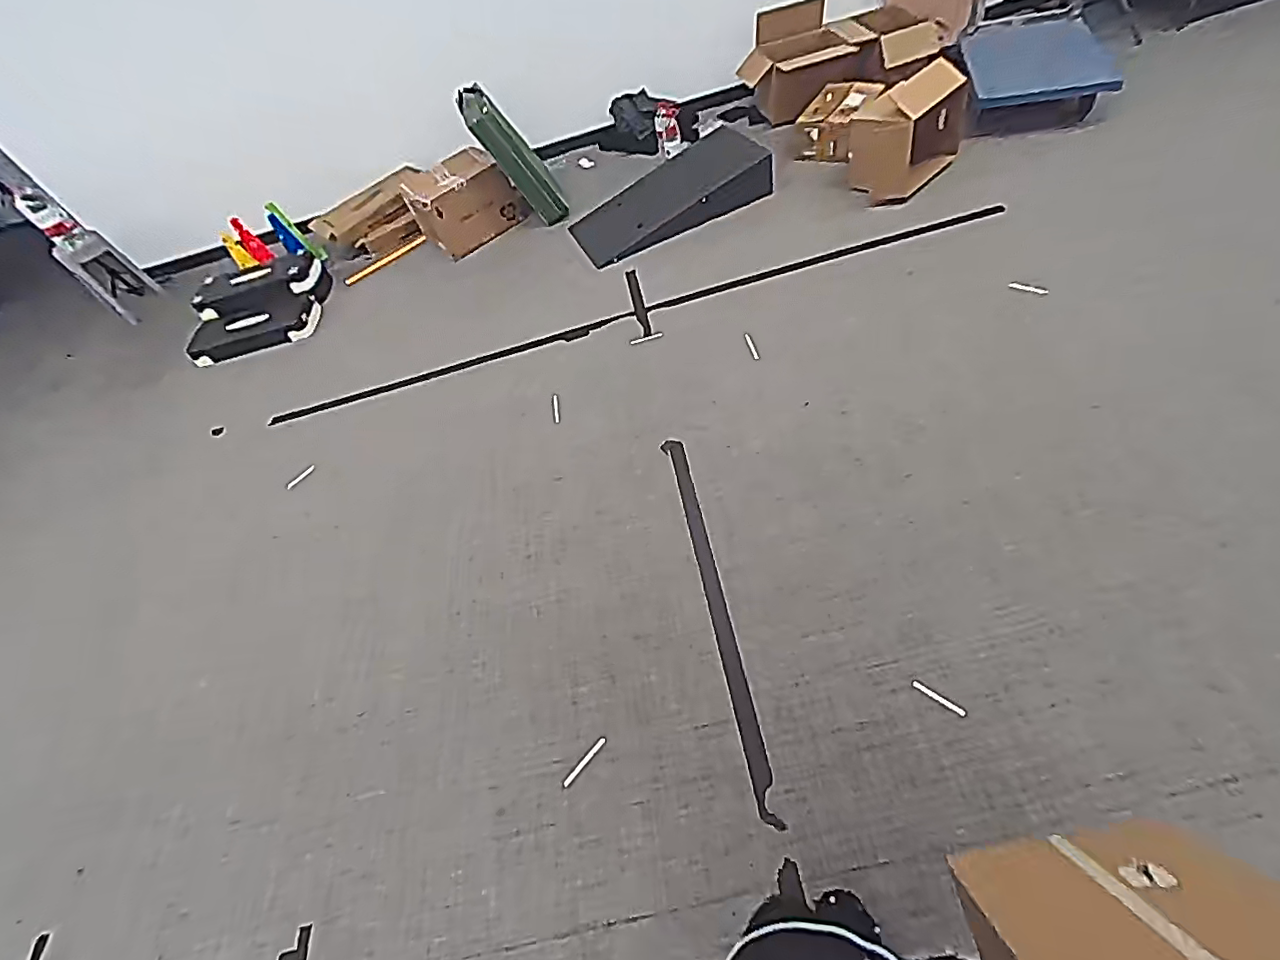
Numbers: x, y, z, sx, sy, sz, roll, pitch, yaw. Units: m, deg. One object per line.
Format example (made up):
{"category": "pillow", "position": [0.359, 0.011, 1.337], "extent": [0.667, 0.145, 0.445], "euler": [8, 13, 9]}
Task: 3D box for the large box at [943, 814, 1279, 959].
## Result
{"category": "large box", "position": [0.615, 0.638, 0.590], "extent": [0.320, 0.408, 0.320], "euler": [-16, 76, 7]}
